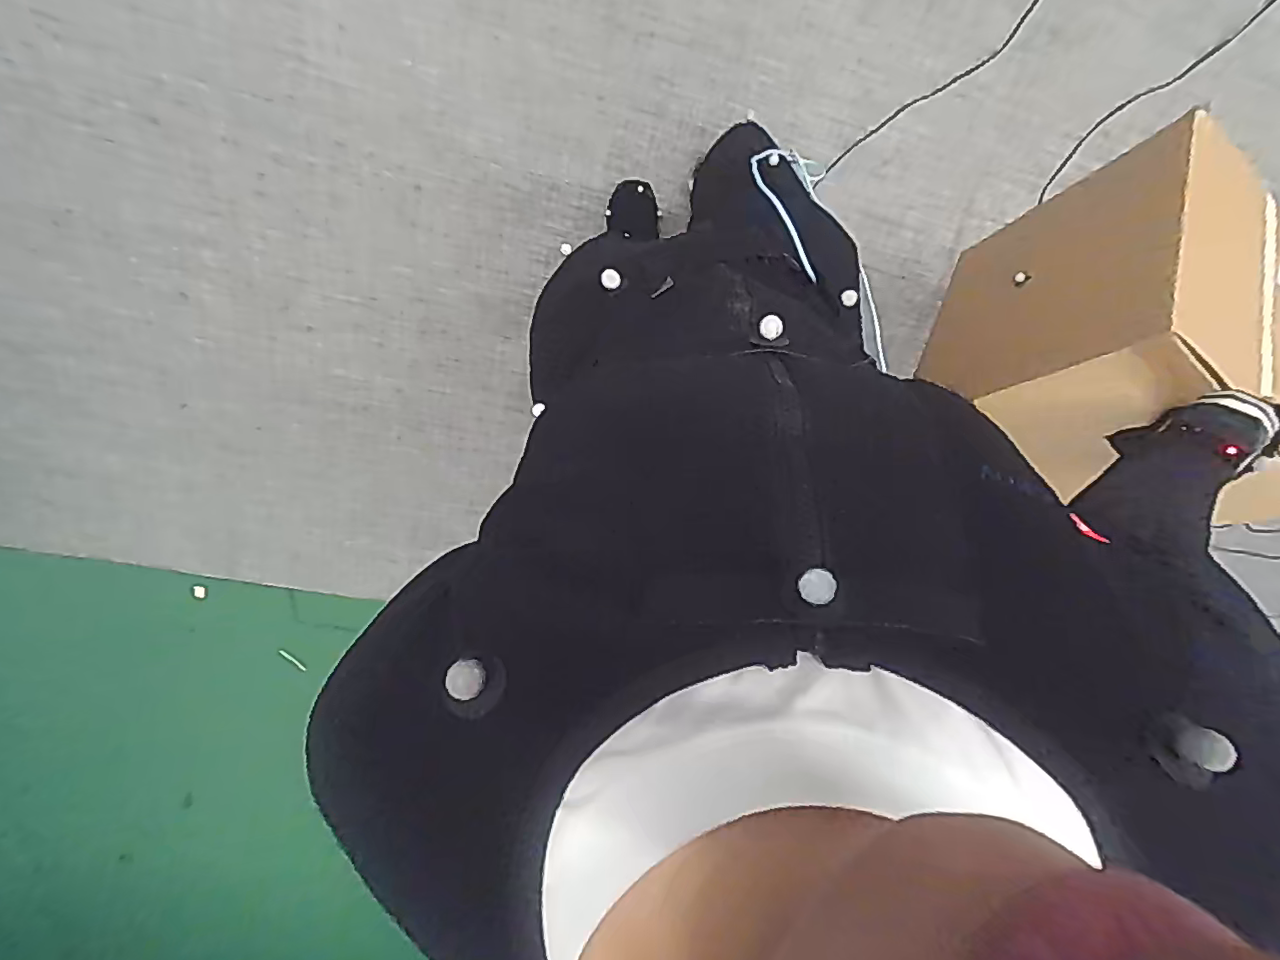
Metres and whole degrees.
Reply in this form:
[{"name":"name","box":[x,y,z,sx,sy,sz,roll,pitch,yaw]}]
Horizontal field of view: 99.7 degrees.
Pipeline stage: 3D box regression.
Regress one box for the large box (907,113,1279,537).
[{"name":"large box","box":[0.644,-0.180,0.756,0.320,0.408,0.320,36,156,-14]}]
